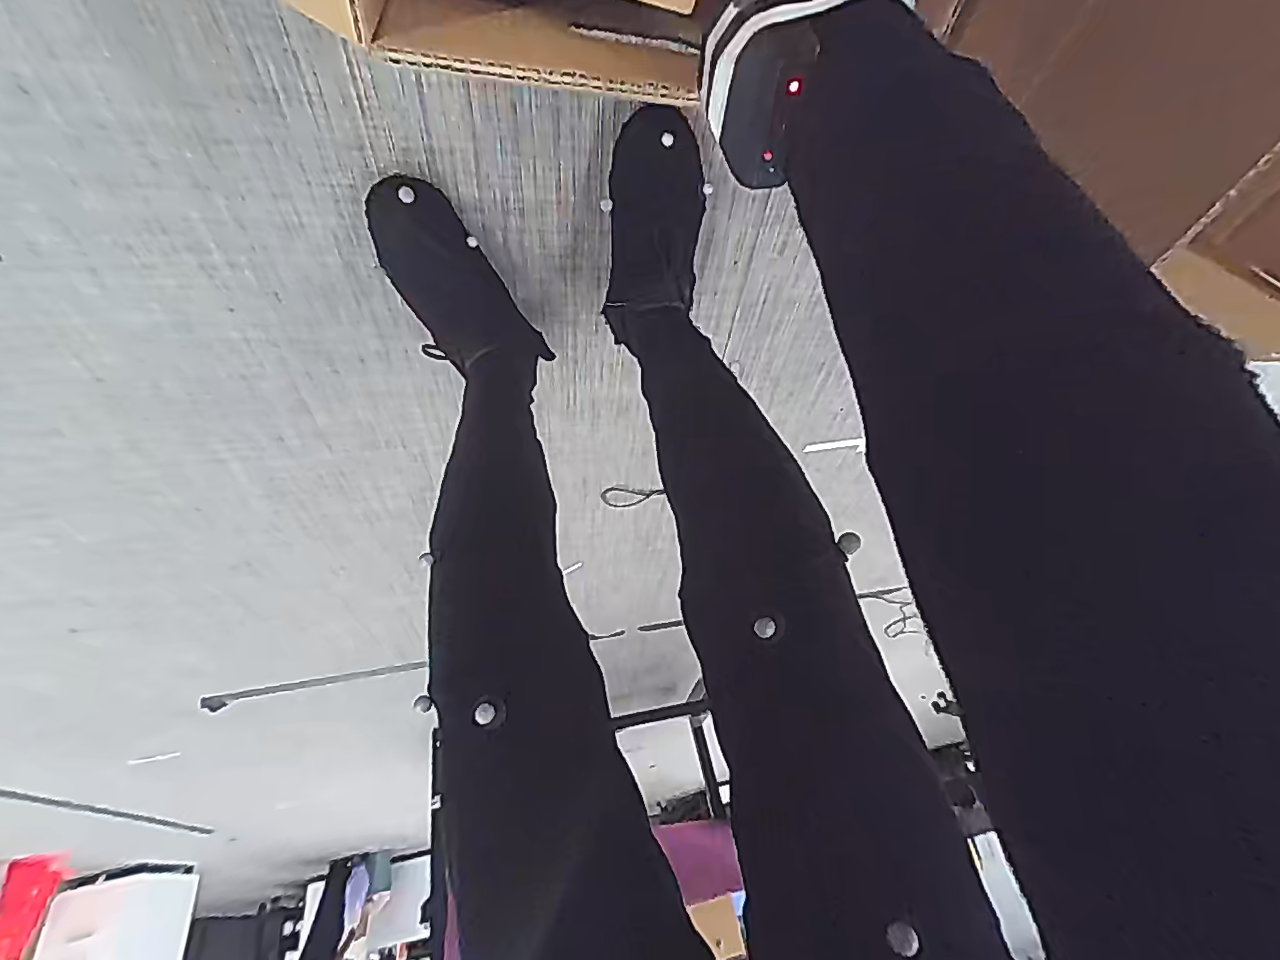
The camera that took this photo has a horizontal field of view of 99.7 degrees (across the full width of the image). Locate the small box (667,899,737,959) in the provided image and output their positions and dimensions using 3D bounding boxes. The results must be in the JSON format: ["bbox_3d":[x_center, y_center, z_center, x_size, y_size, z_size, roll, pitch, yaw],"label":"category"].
[{"bbox_3d":[0.206,1.559,1.850,0.179,0.176,0.168,-5,142,-12],"label":"small box"}]

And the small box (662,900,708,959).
[{"bbox_3d":[0.194,1.708,2.040,0.179,0.176,0.168,-7,142,-10],"label":"small box"}]
